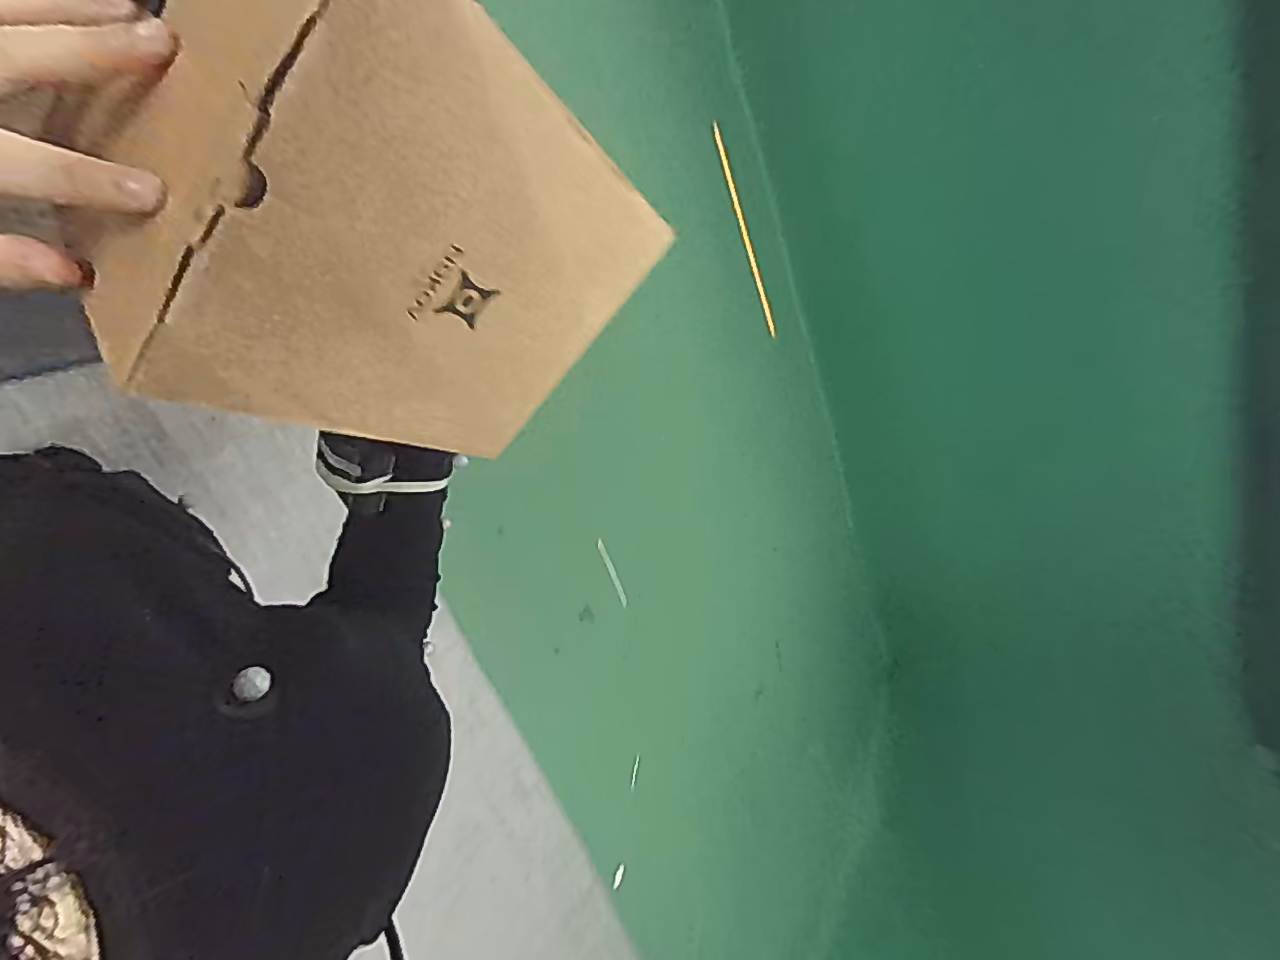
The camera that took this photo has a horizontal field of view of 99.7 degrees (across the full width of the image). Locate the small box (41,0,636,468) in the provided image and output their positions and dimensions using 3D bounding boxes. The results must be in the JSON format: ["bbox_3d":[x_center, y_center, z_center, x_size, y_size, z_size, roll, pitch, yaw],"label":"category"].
[{"bbox_3d":[-0.140,-0.130,0.273,0.176,0.168,0.179,50,15,23],"label":"small box"}]
